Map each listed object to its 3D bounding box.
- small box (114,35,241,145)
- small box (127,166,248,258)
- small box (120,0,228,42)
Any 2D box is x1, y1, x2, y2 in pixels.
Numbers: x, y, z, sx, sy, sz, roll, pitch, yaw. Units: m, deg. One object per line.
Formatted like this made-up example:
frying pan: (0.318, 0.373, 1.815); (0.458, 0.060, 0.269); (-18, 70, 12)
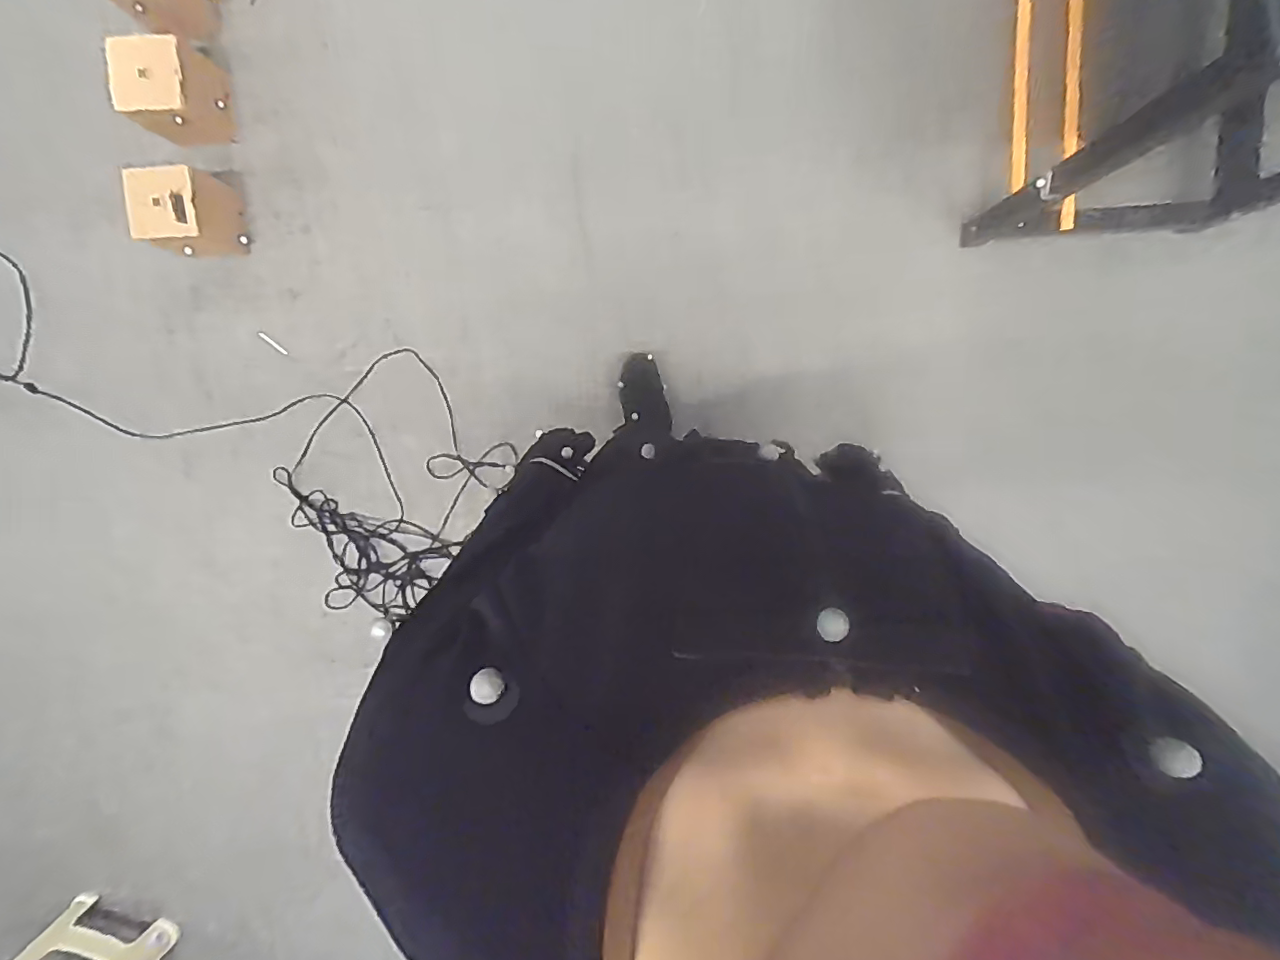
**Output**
small box: (-1.152, -0.969, 1.357); (0.179, 0.176, 0.168); (0, 96, 3)
small box: (-1.144, -0.680, 1.386); (0.179, 0.176, 0.168); (-1, 96, 4)
small box: (-1.164, -1.224, 1.330); (0.179, 0.176, 0.168); (7, 97, 1)
